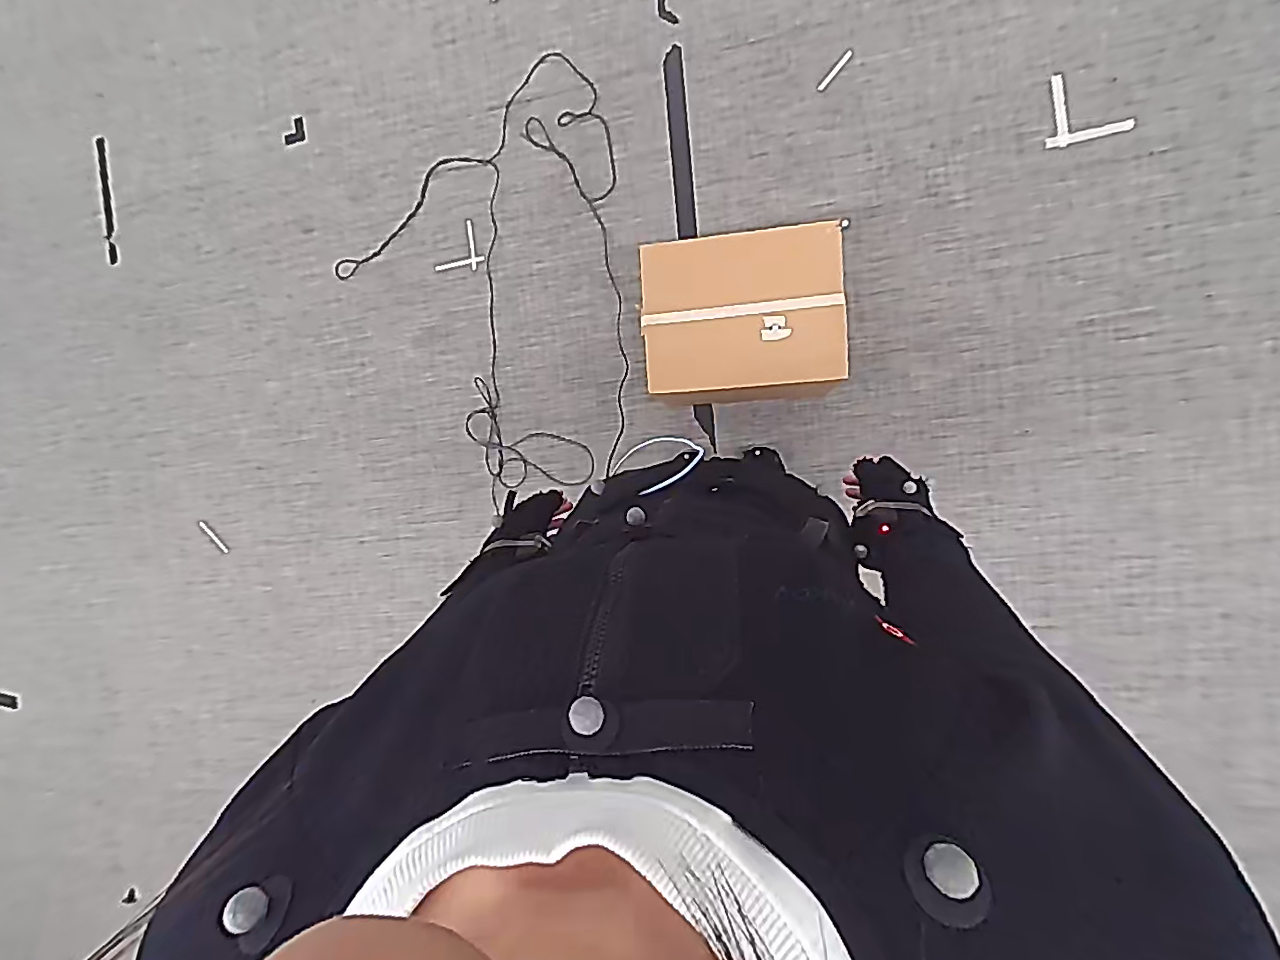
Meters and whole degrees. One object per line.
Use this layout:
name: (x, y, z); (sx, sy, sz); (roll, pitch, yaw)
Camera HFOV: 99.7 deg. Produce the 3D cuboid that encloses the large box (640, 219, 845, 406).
large box: (0.228, -0.356, 1.253); (0.408, 0.320, 0.320); (-3, 93, 10)
